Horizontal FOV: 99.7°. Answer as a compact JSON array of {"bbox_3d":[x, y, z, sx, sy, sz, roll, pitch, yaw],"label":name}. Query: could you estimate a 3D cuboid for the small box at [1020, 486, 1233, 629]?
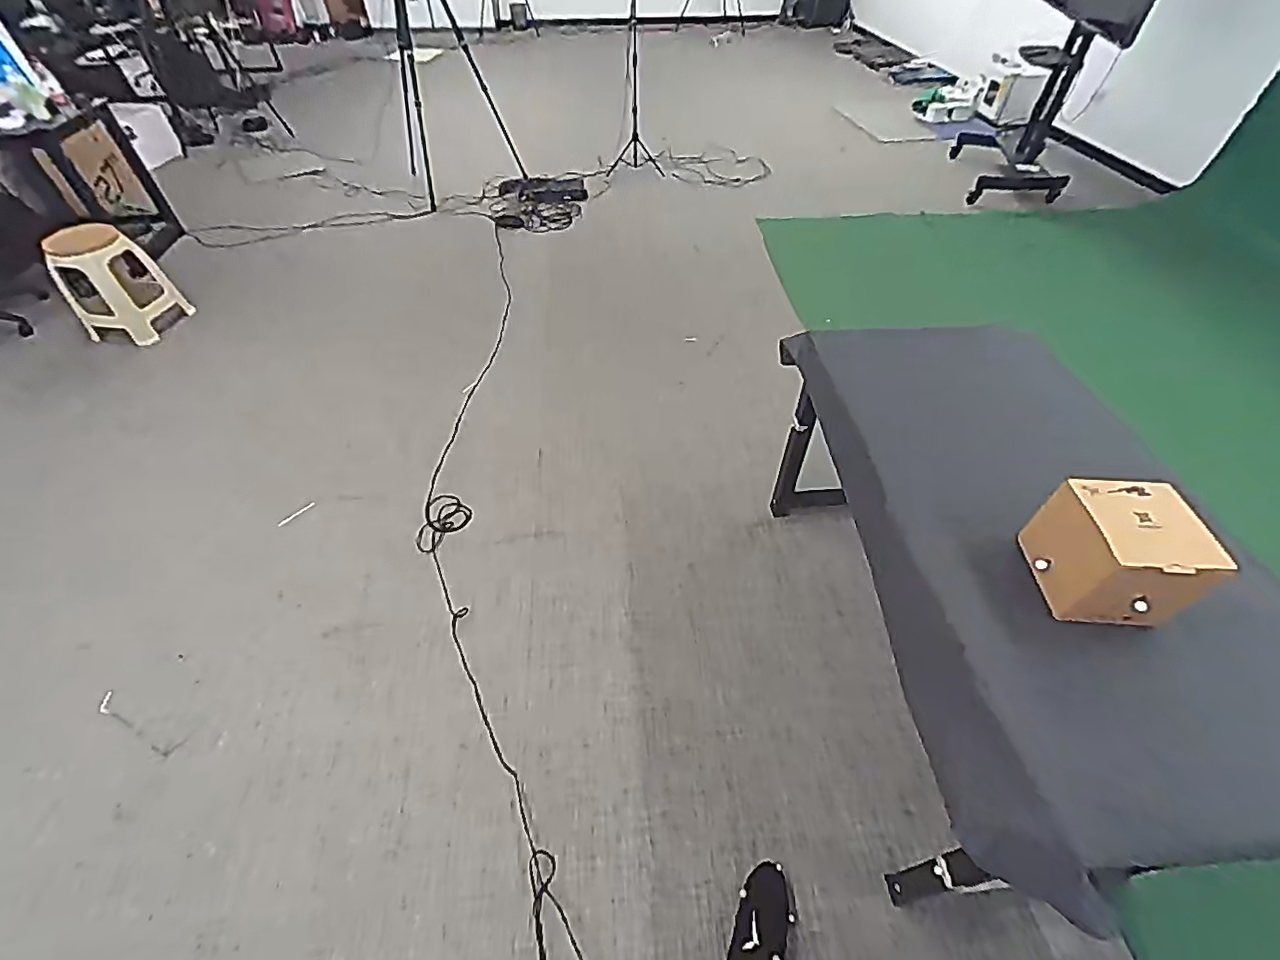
[{"bbox_3d":[0.783,0.131,0.898,0.168,0.176,0.179,3,49,3],"label":"small box"}]
